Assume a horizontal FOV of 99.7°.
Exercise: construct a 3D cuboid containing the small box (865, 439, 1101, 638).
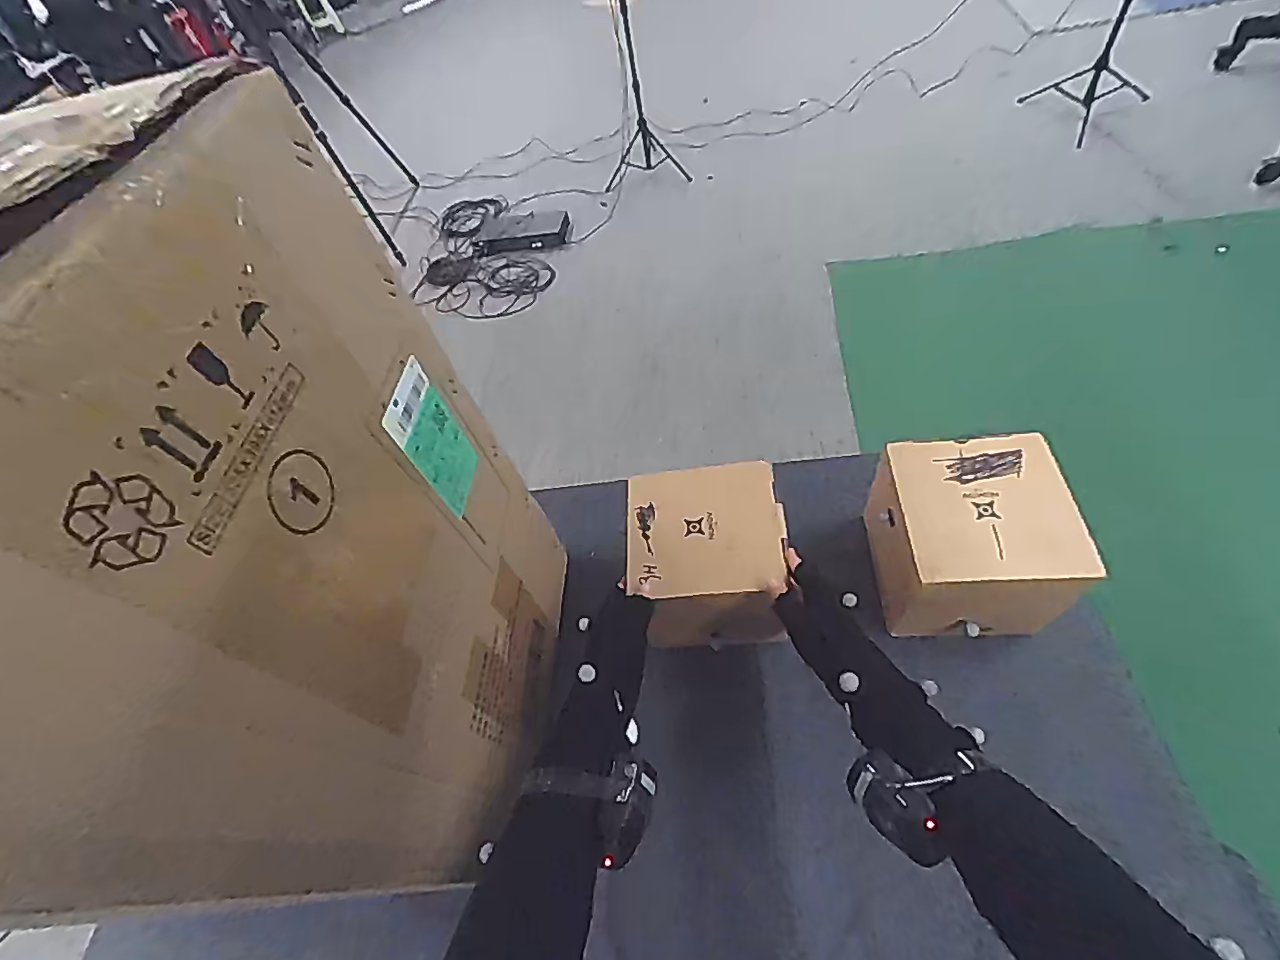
[{"bbox_3d":[0.378,0.074,0.640,0.168,0.176,0.179,-4,56,10],"label":"small box"}]
